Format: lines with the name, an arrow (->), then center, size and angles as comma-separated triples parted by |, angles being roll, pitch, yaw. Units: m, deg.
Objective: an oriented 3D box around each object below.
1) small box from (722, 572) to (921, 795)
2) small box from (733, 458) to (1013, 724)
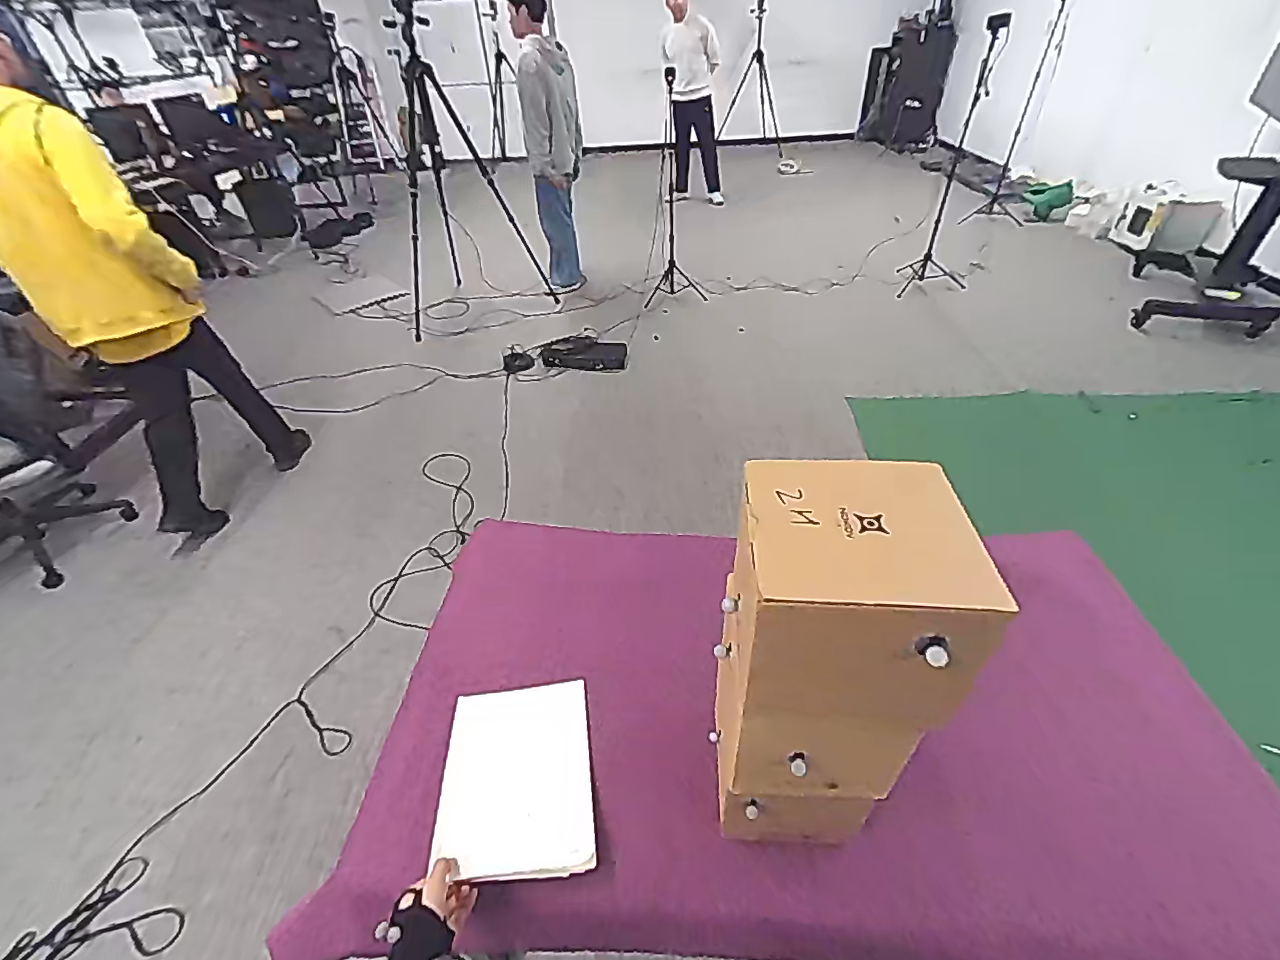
small box -> 0.178, 0.221, 0.594 | 0.168, 0.176, 0.179 | 0, 39, 4
small box -> 0.179, 0.098, 0.484 | 0.179, 0.176, 0.168 | 1, 39, 6
